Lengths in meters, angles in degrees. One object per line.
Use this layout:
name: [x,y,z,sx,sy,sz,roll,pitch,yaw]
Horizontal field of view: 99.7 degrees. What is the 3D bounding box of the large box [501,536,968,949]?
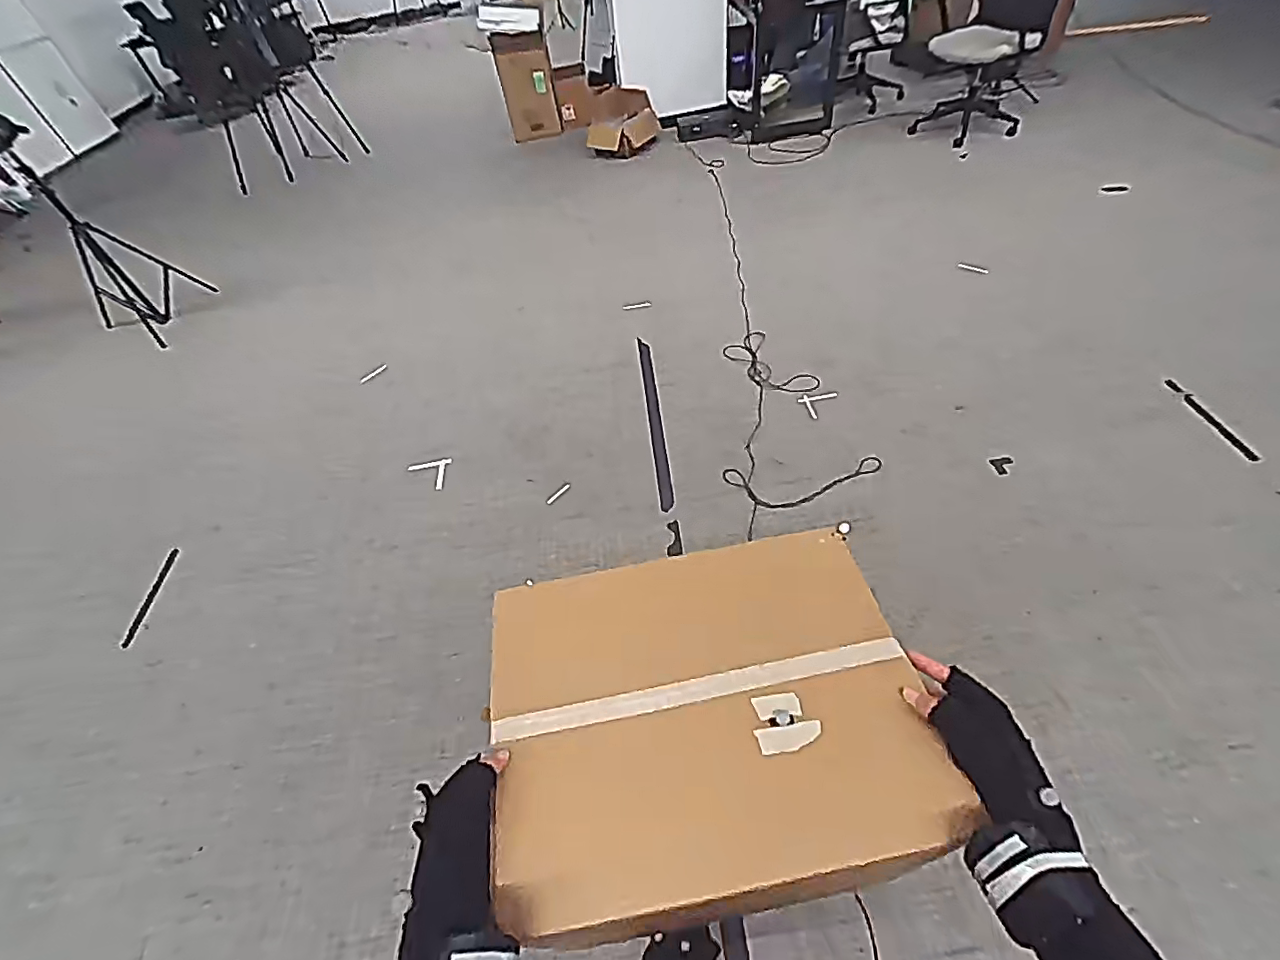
large box: [0.071,0.315,0.651,0.408,0.320,0.320,-11,48,-3]
